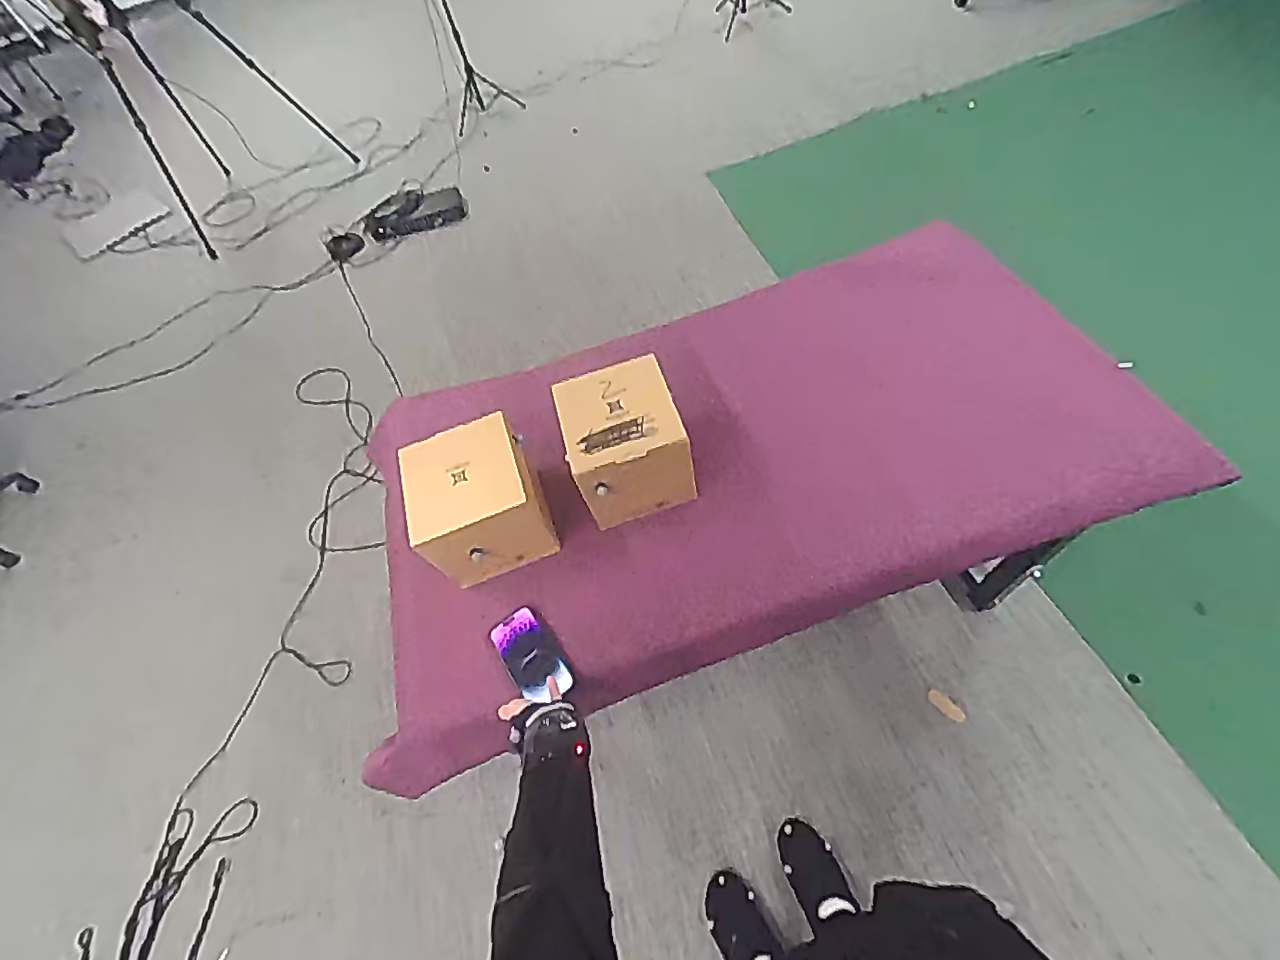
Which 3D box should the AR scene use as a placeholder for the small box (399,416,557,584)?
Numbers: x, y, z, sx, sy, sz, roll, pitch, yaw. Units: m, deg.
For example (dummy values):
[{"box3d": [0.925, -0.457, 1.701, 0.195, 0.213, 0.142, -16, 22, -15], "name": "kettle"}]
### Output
[{"box3d": [-0.240, 0.040, 0.823, 0.168, 0.176, 0.179, -22, 56, -3], "name": "small box"}]
